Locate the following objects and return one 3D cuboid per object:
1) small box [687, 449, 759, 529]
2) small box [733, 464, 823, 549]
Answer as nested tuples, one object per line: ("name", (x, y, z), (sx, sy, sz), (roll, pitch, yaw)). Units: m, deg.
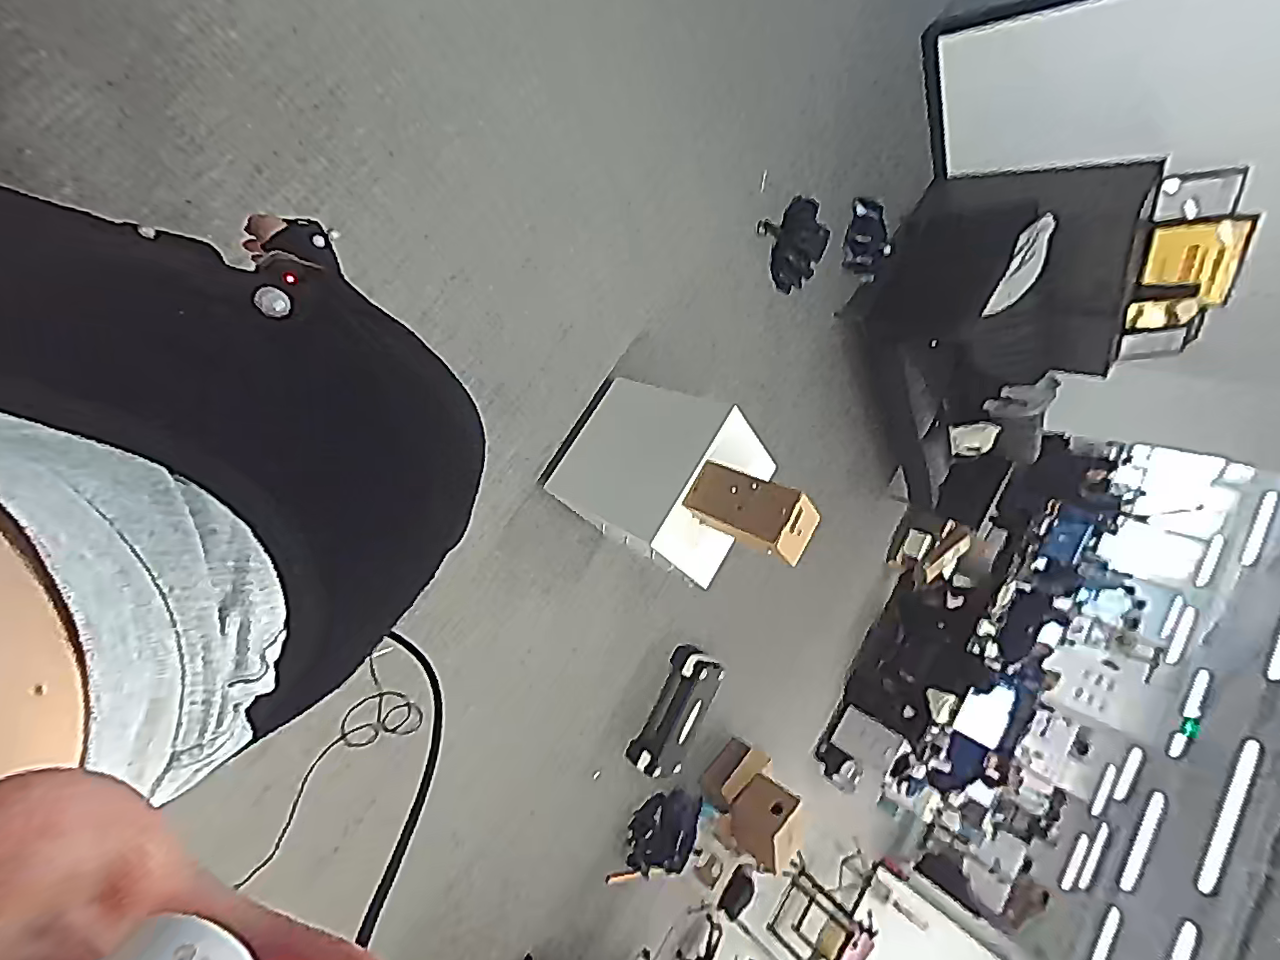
("small box", (0.274, 0.023, 1.645), (0.179, 0.176, 0.168), (37, 78, -49))
("small box", (0.390, 0.071, 1.538), (0.179, 0.176, 0.168), (38, 78, -49))
